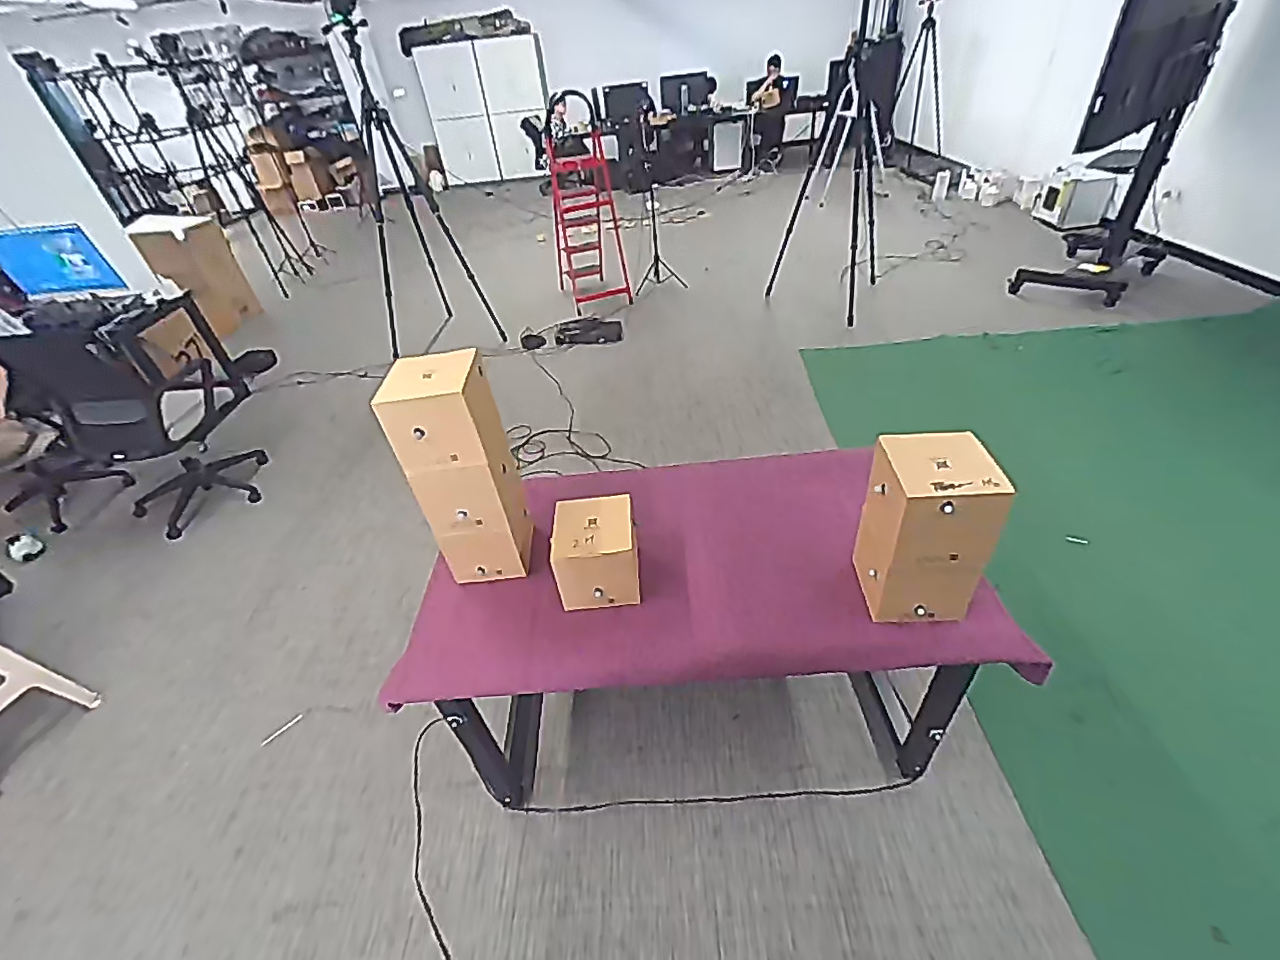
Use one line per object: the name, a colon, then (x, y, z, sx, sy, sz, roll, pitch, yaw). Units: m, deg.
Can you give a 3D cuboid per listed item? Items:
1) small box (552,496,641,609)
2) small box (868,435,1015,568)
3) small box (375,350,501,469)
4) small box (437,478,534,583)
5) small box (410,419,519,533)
small box: (-0.089, 0.158, 1.180, 0.168, 0.176, 0.179, -6, 39, 2)
small box: (0.521, 0.038, 0.967, 0.168, 0.176, 0.179, -3, 38, 7)
small box: (-0.384, -0.133, 1.066, 0.168, 0.176, 0.179, -8, 39, 1)
small box: (-0.352, 0.118, 1.270, 0.168, 0.176, 0.179, -7, 40, 1)
small box: (-0.367, -0.009, 1.168, 0.168, 0.176, 0.179, -7, 40, 1)
